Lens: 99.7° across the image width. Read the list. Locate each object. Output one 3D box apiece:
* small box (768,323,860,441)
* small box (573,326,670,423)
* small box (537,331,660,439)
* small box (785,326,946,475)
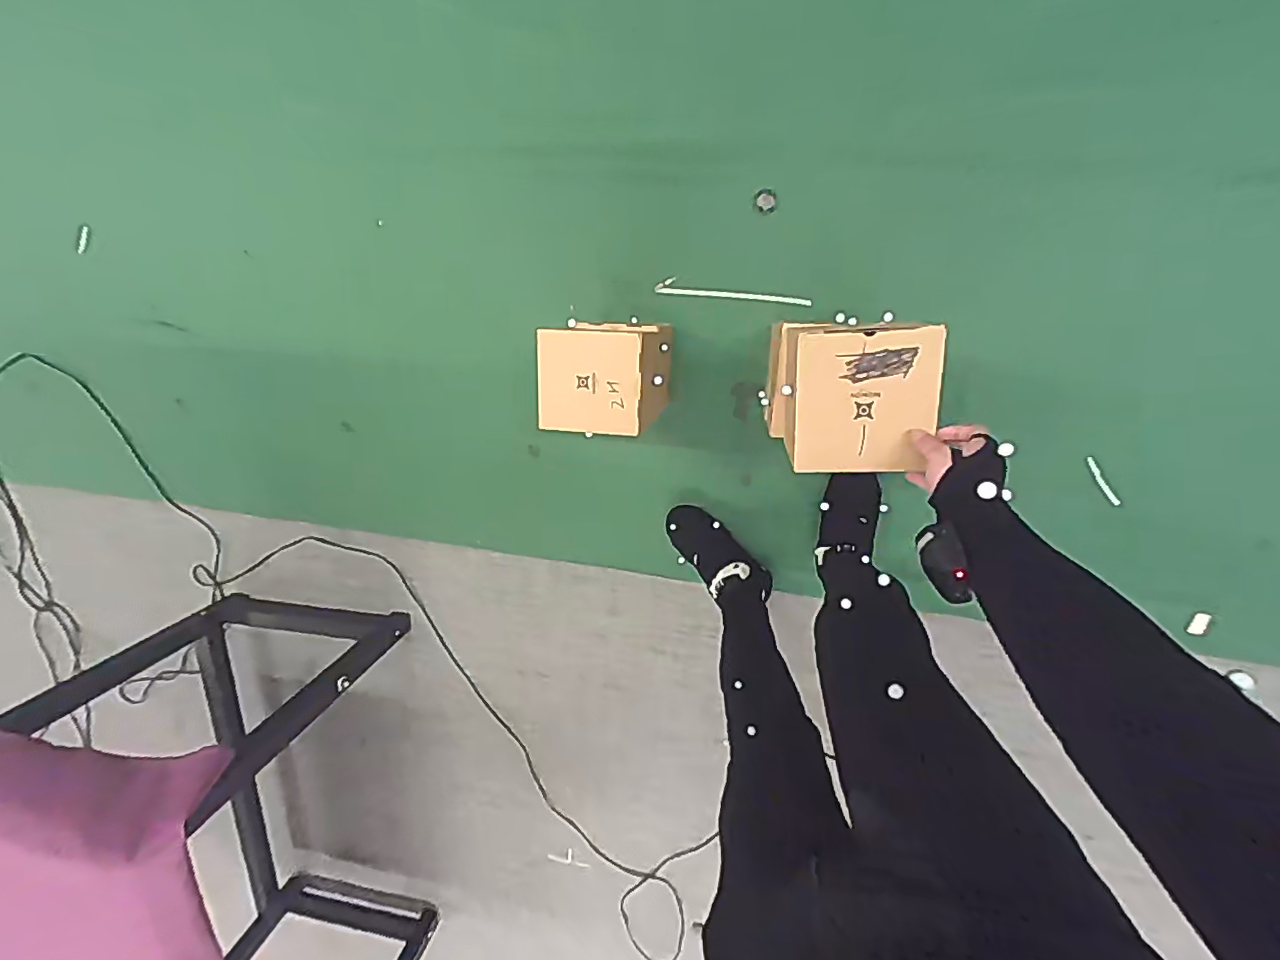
[{"bbox_3d":[0.301,-0.160,0.880,0.168,0.176,0.179,5,107,9],"label":"small box"},{"bbox_3d":[-0.033,-0.221,1.105,0.168,0.176,0.179,5,106,11],"label":"small box"},{"bbox_3d":[-0.068,-0.174,0.952,0.179,0.176,0.168,5,107,10],"label":"small box"},{"bbox_3d":[0.285,-0.113,0.724,0.168,0.176,0.179,0,108,11],"label":"small box"}]
